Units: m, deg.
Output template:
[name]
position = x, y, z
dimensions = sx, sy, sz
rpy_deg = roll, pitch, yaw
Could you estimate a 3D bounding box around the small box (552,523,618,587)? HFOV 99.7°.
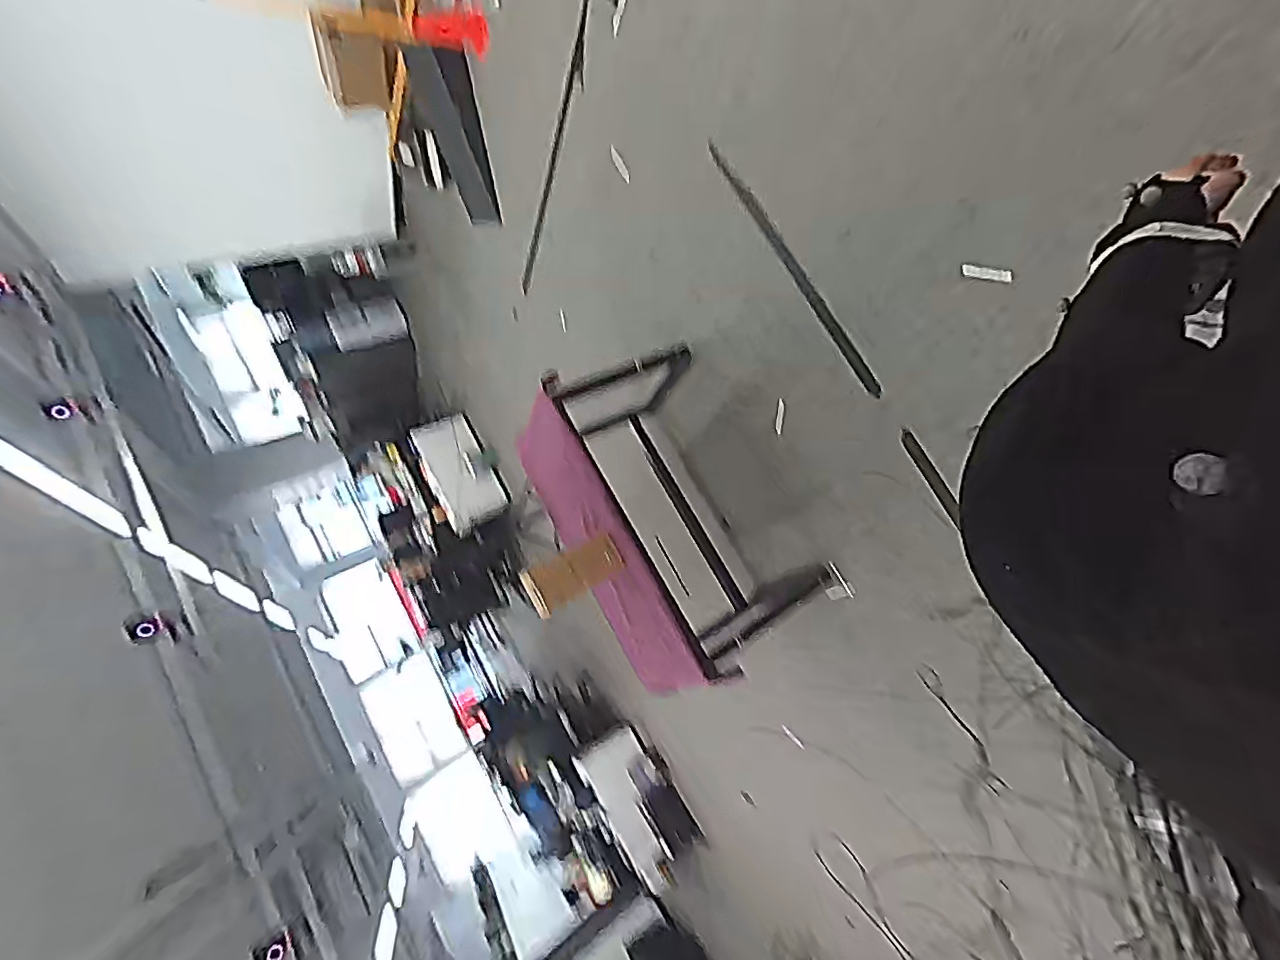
[small box]
position = -0.205, 0.281, 2.033
dimensions = 0.168, 0.176, 0.179
rpy_deg = 60, 151, 5
